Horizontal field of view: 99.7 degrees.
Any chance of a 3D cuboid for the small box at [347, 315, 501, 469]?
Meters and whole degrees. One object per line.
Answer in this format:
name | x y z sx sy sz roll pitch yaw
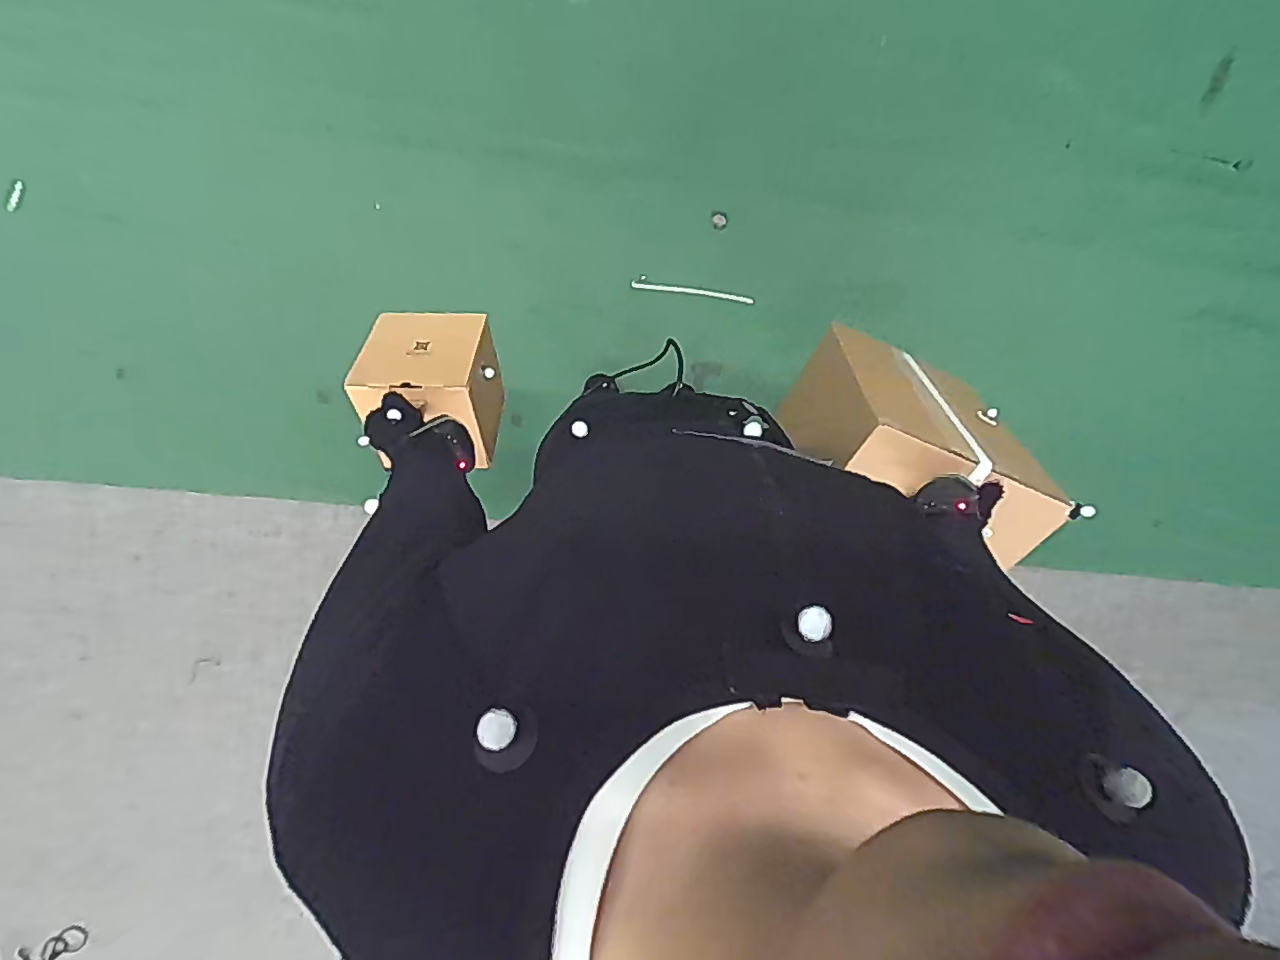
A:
small box | -0.322 -0.138 0.850 0.168 0.179 0.176 0 141 -2
